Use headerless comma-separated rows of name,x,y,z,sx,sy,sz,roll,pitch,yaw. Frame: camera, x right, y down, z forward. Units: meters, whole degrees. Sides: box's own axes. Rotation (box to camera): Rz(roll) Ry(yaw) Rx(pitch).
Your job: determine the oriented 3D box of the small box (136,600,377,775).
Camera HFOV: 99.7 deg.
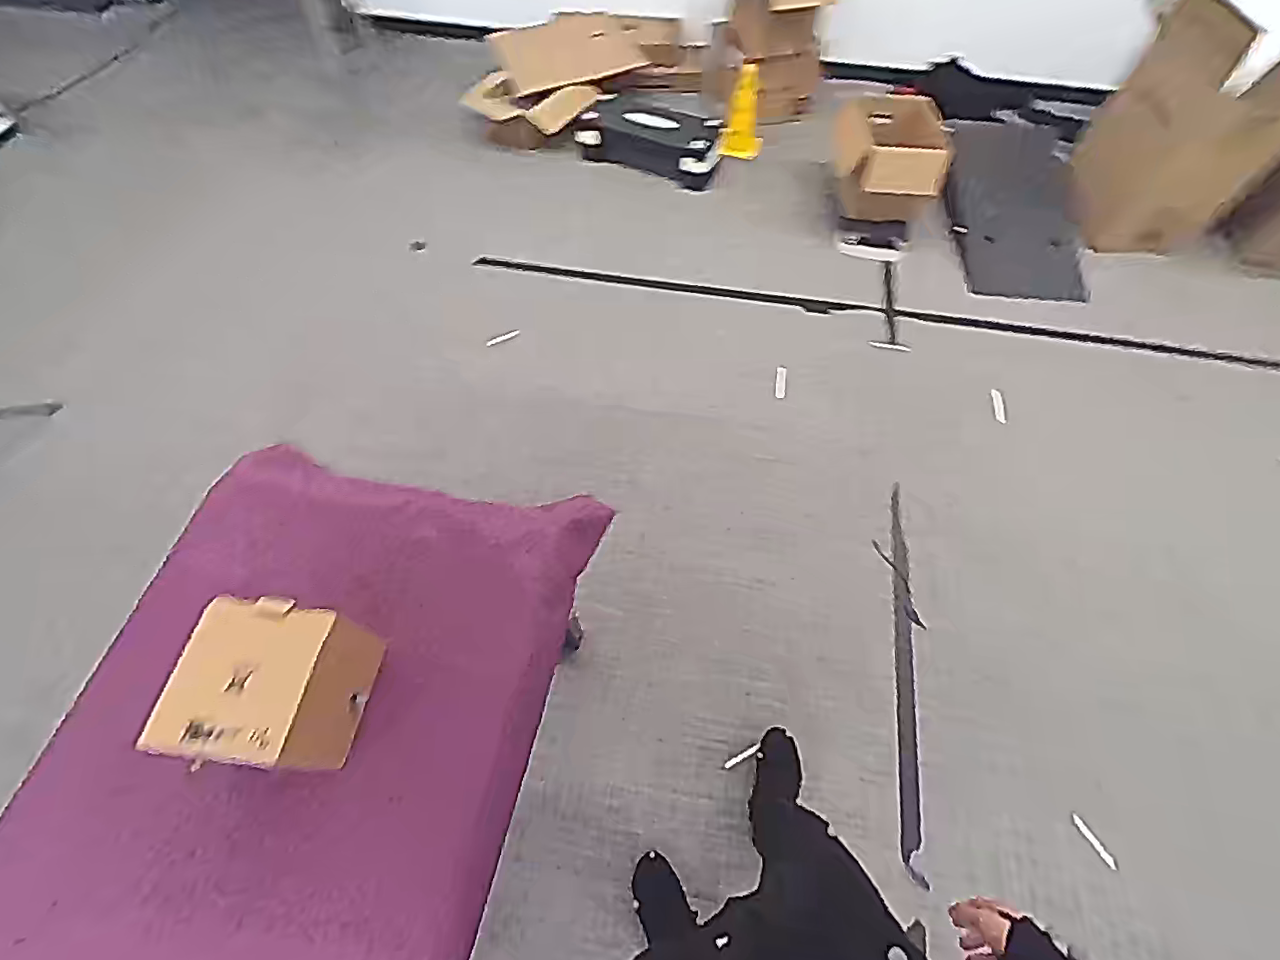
small box,-0.475,0.276,0.710,0.168,0.176,0.179,6,60,3
